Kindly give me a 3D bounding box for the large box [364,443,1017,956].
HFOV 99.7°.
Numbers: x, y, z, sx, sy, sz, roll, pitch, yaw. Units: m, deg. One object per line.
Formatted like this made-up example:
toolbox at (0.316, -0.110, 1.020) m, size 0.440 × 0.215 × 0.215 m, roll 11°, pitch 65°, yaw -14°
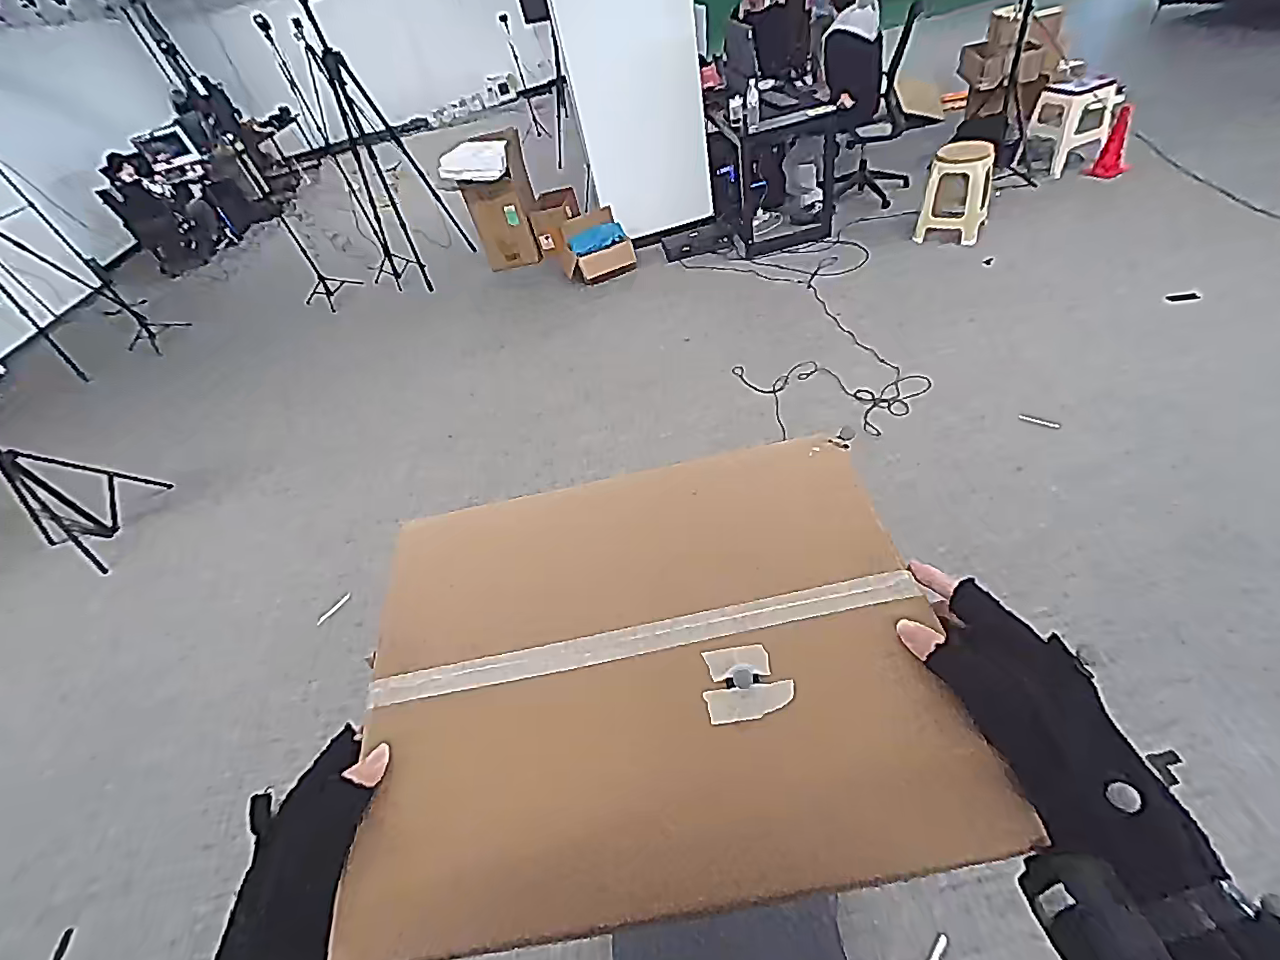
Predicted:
large box at (0.027, 0.215, 0.524) m, size 0.408 × 0.320 × 0.320 m, roll -12°, pitch 51°, yaw 2°
